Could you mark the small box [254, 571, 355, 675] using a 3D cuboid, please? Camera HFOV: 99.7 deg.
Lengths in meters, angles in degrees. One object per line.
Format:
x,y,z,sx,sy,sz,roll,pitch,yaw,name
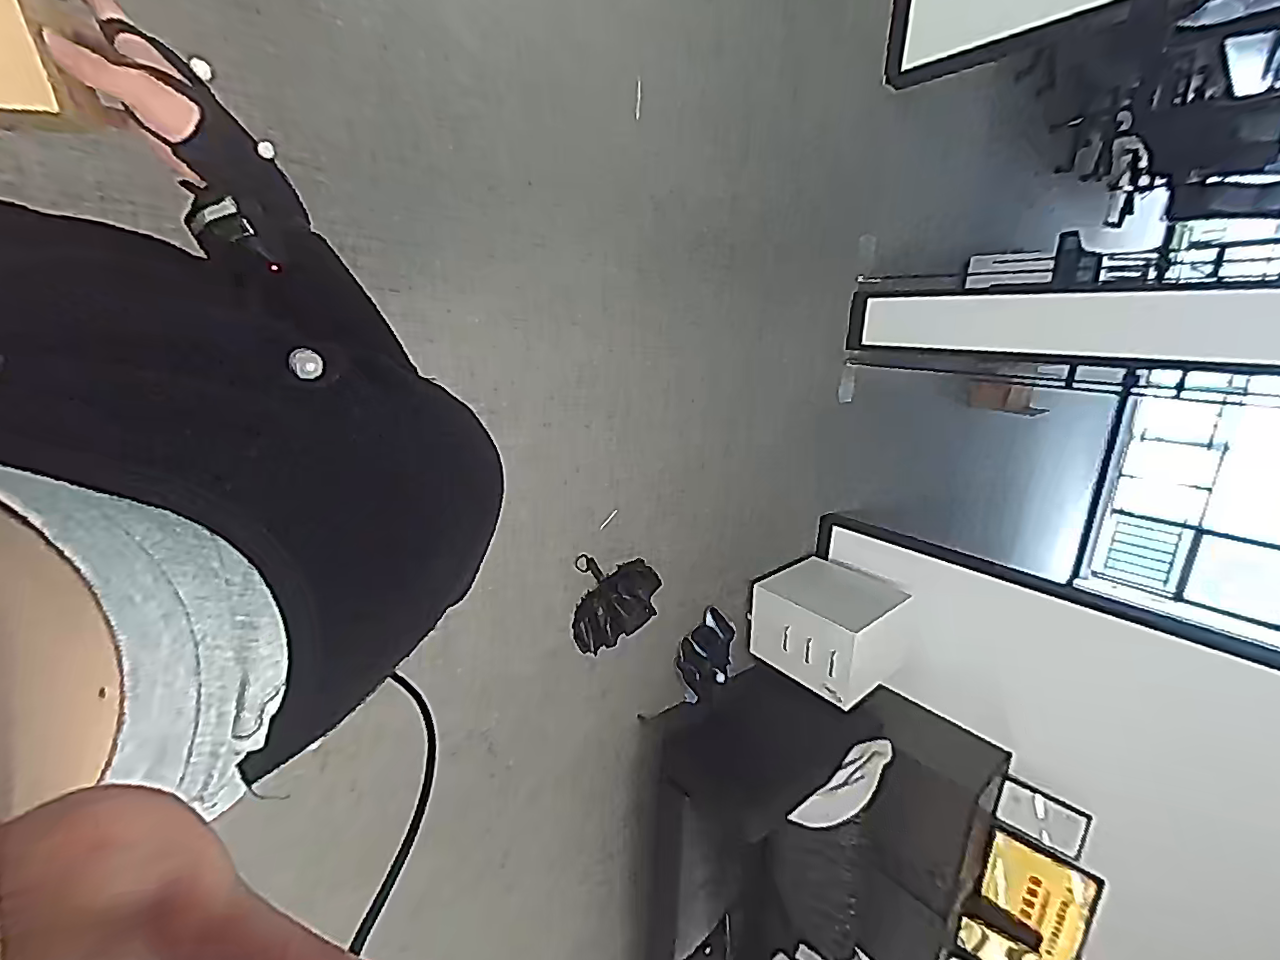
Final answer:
-0.863,0.353,1.387,0.168,0.176,0.179,-25,120,-31,small box
